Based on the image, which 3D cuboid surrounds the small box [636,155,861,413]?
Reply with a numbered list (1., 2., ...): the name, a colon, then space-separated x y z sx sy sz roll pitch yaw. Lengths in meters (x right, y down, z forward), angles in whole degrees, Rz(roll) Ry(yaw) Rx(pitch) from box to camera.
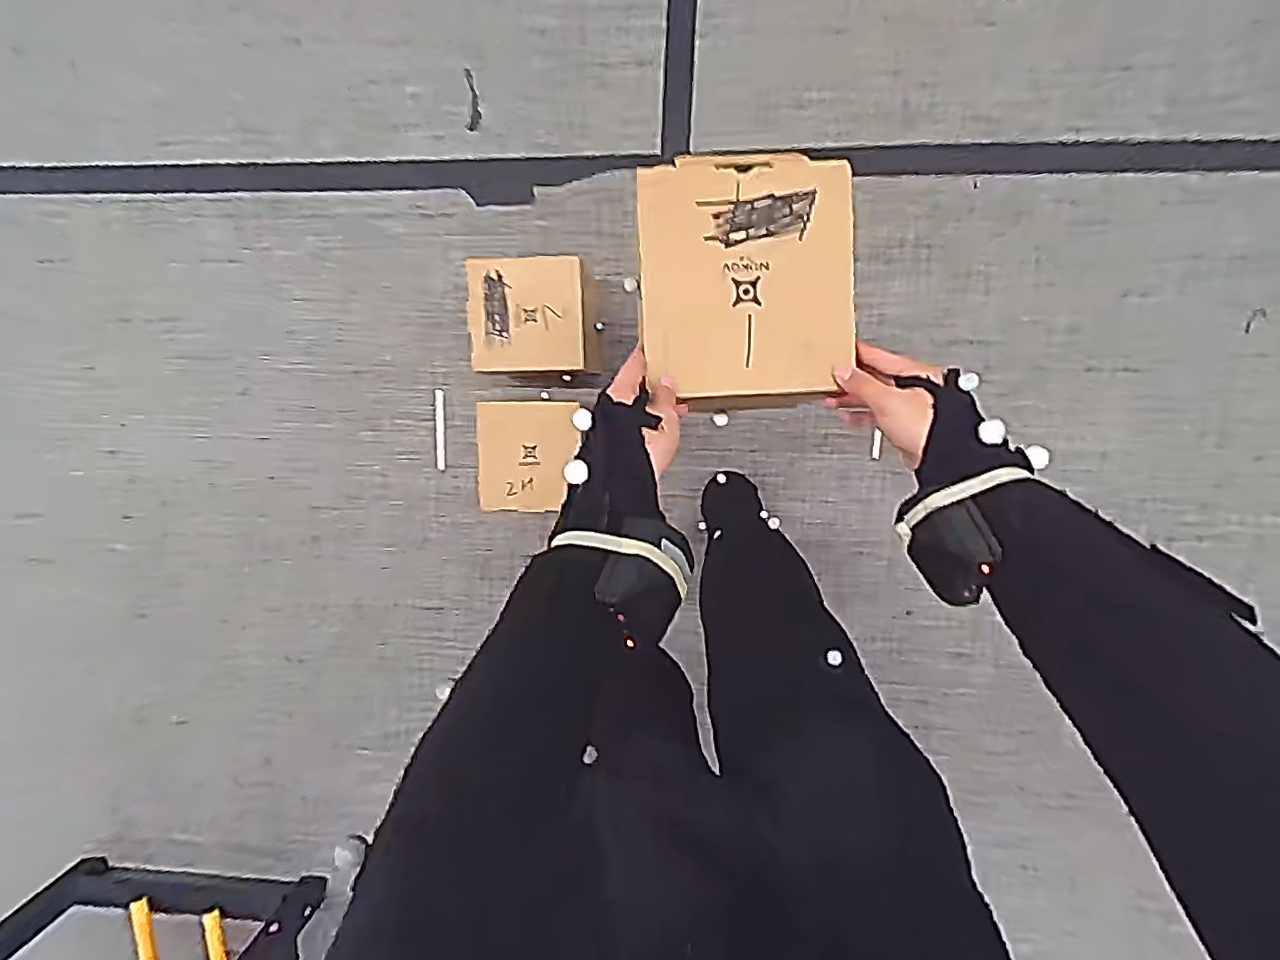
1. small box: 0.082 -0.157 0.485 0.168 0.176 0.179 -2 93 0
